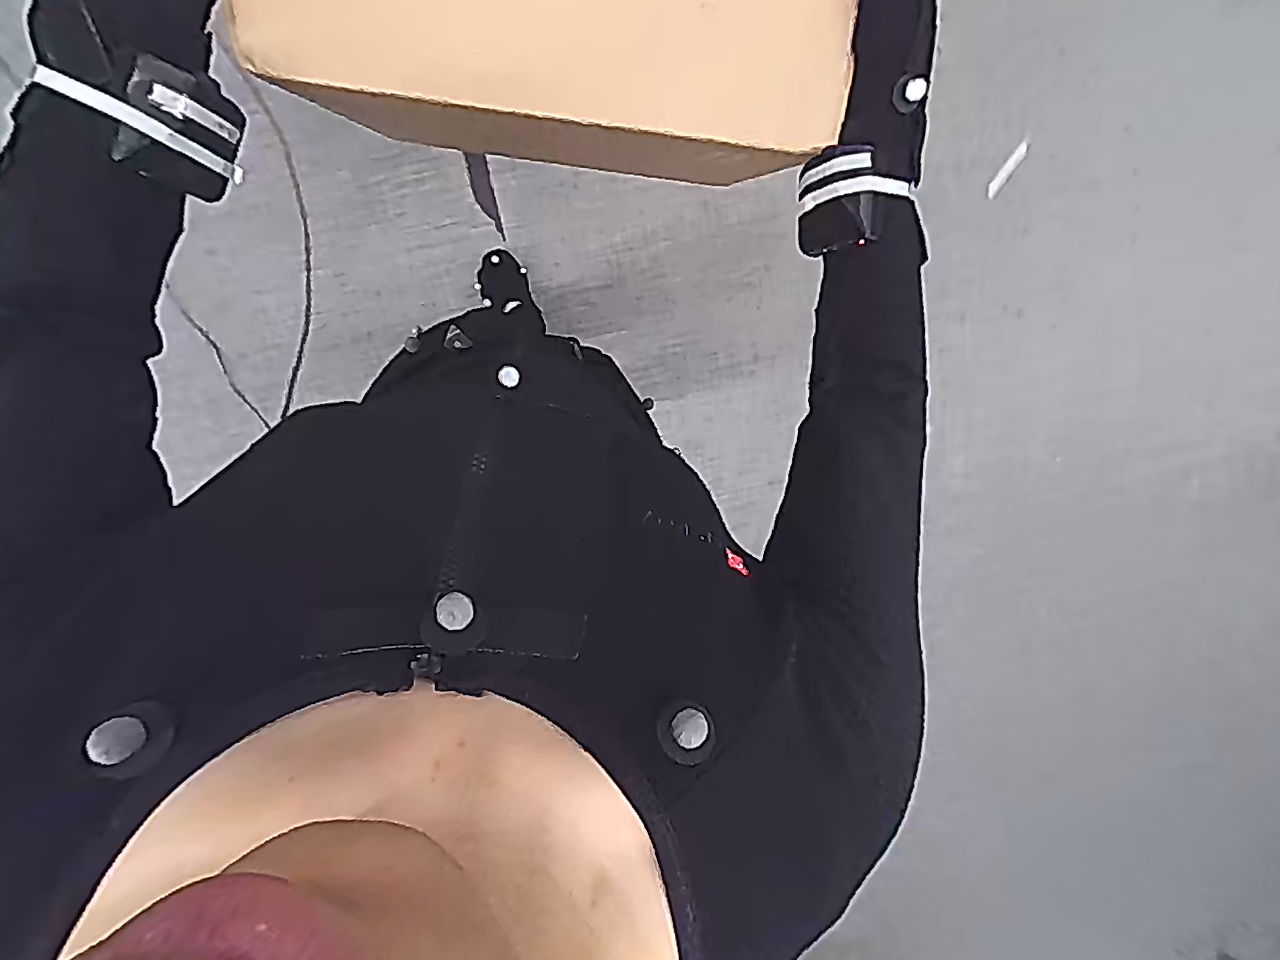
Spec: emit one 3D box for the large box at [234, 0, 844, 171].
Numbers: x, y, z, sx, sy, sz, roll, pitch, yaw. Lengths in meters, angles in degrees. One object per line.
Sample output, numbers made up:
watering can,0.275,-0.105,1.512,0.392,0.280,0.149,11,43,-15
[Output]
large box,-0.067,-0.464,0.450,0.408,0.320,0.320,2,115,-8
